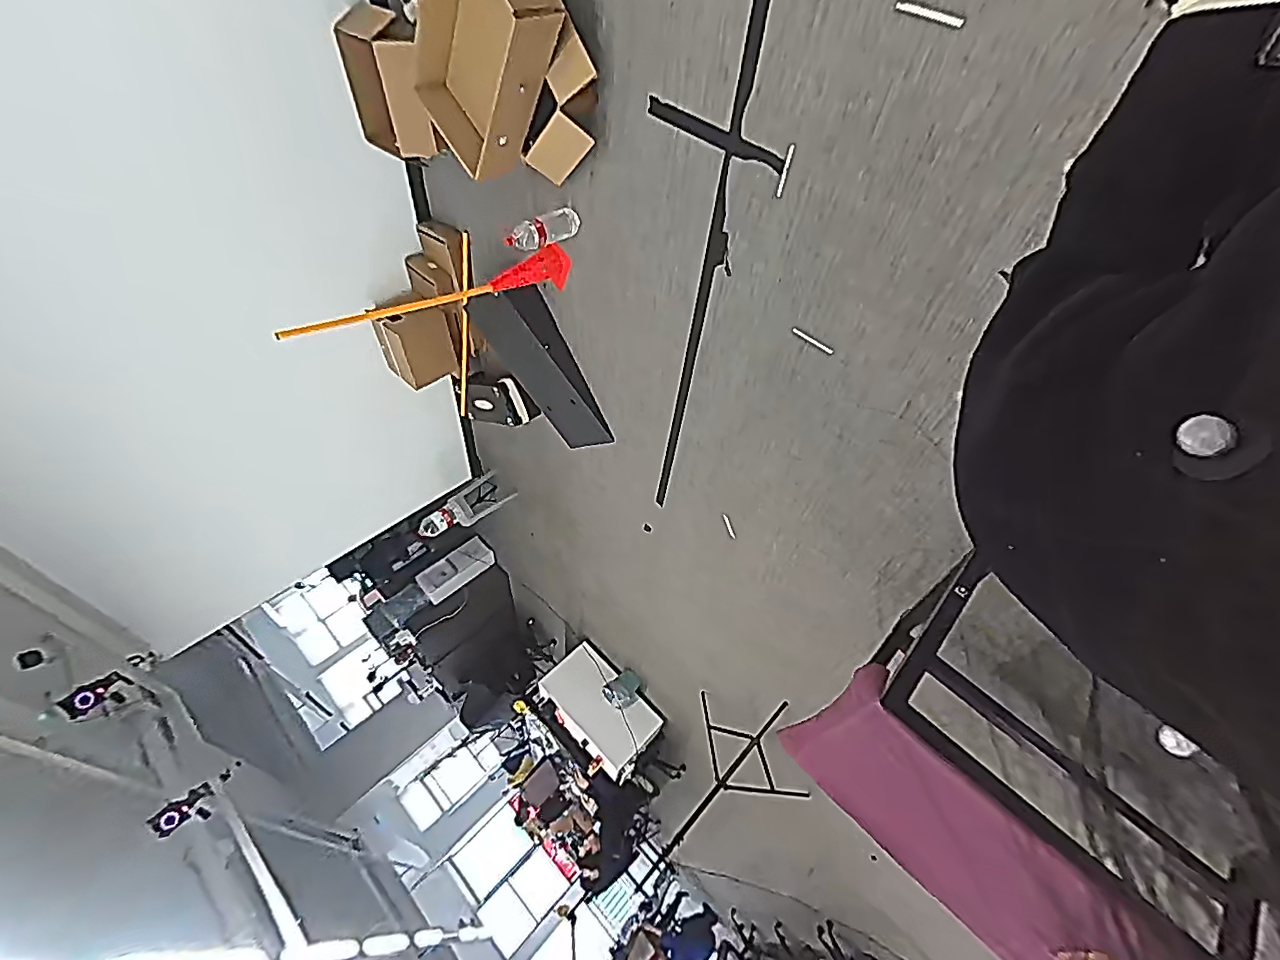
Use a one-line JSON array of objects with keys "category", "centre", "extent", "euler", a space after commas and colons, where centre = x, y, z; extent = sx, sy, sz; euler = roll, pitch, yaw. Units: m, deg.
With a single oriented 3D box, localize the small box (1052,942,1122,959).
[{"category": "small box", "centre": [0.994, 1.133, 1.139], "extent": [0.179, 0.176, 0.168], "euler": [39, 147, 25]}]
